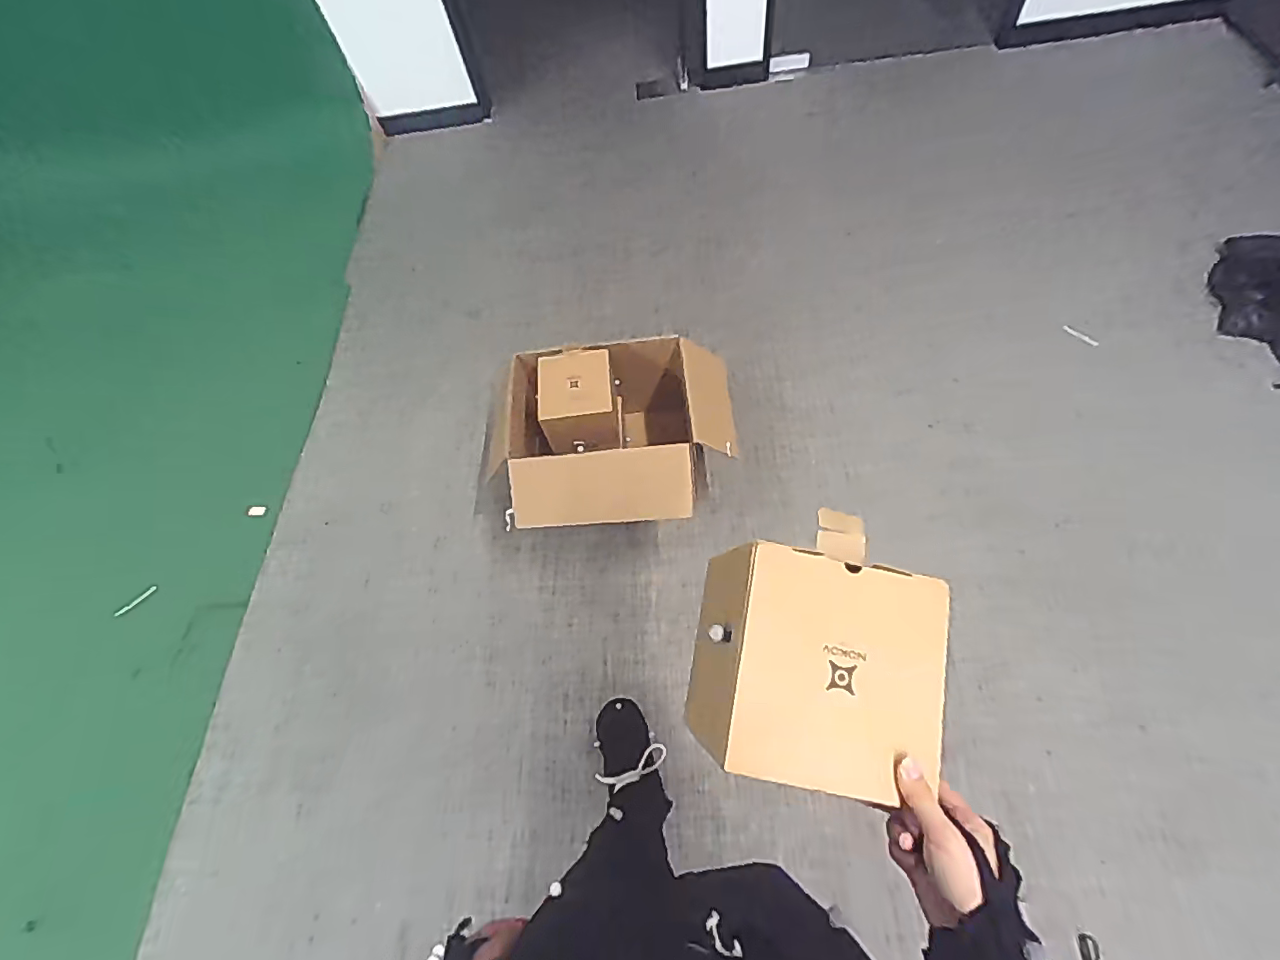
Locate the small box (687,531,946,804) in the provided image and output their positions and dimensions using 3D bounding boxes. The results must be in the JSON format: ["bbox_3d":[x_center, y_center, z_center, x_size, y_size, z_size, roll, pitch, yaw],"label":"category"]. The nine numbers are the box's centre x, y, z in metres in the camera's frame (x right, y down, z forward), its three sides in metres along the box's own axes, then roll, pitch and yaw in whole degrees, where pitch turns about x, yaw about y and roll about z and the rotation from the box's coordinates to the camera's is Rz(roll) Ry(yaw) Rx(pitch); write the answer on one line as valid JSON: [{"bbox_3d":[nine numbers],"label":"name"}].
[{"bbox_3d":[0.145,0.159,0.494,0.168,0.176,0.179,13,75,-3],"label":"small box"}]

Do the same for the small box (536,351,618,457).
[{"bbox_3d":[-0.145,-0.175,1.273,0.168,0.176,0.179,-6,63,2],"label":"small box"}]
